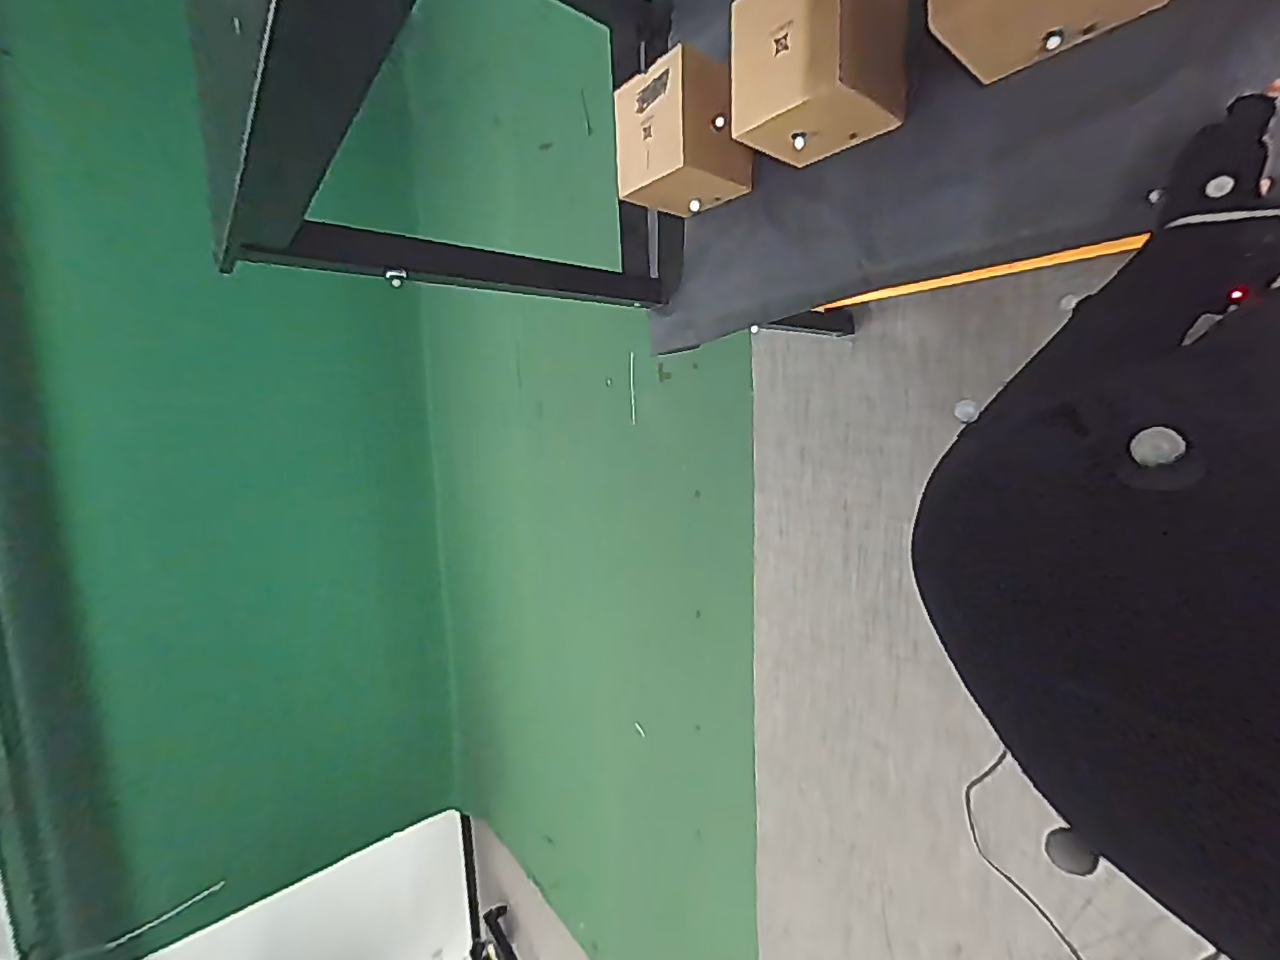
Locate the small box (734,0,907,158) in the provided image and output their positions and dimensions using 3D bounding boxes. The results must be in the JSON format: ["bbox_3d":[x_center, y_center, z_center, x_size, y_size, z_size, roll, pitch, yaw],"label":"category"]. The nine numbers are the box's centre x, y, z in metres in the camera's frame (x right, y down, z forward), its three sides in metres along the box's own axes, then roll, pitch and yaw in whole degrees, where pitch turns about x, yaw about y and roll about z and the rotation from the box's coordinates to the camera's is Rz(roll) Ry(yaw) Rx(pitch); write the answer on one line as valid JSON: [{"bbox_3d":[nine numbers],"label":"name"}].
[{"bbox_3d":[0.246,-0.567,0.737,0.168,0.176,0.179,6,101,50],"label":"small box"}]

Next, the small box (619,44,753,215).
[{"bbox_3d":[0.081,-0.583,0.929,0.168,0.176,0.179,7,102,50],"label":"small box"}]
